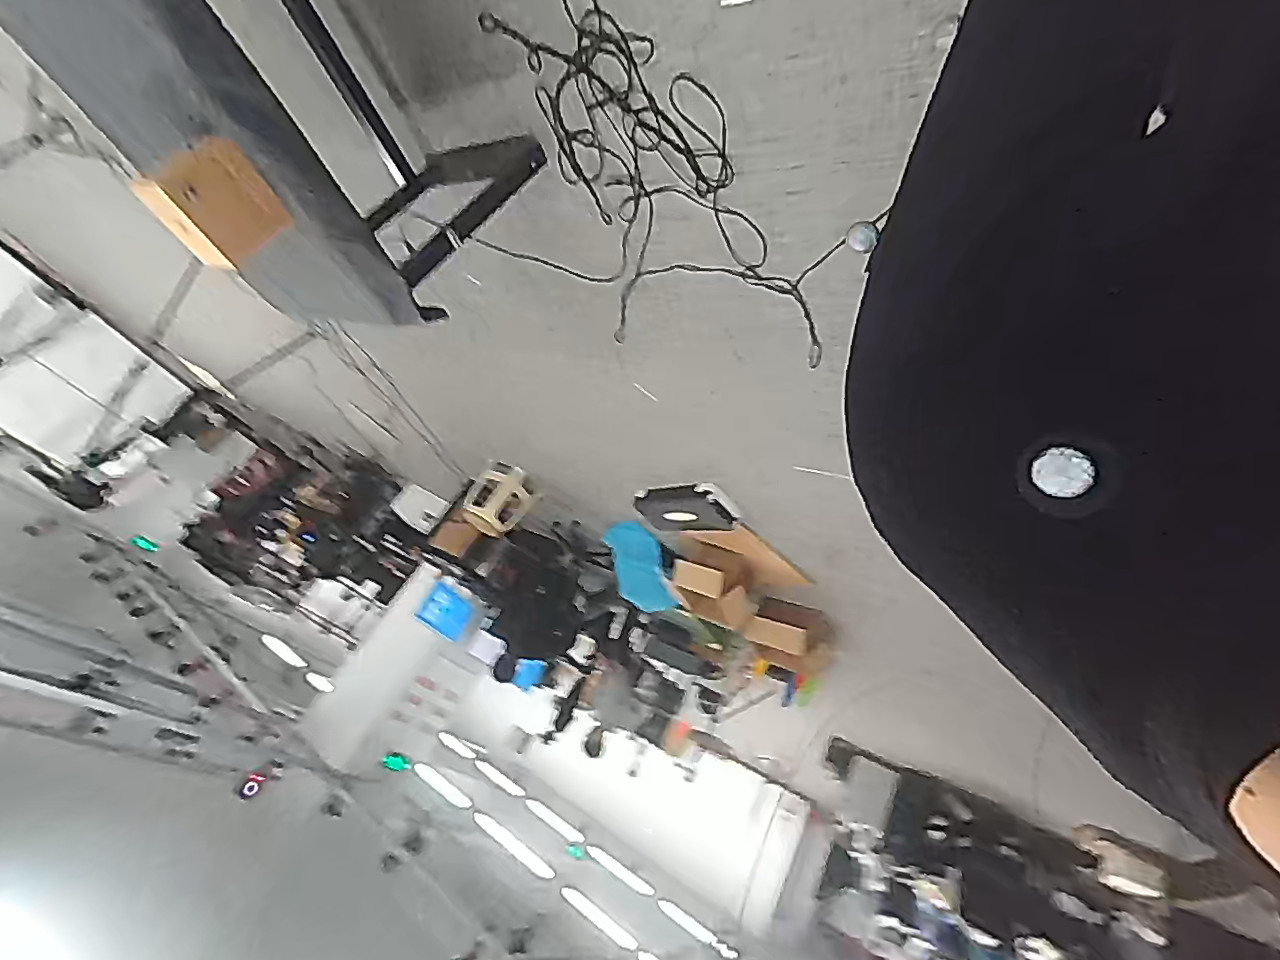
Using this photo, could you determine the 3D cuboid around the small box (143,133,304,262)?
[{"bbox_3d":[-0.844,-0.578,1.112,0.168,0.176,0.179,18,150,32],"label":"small box"}]
